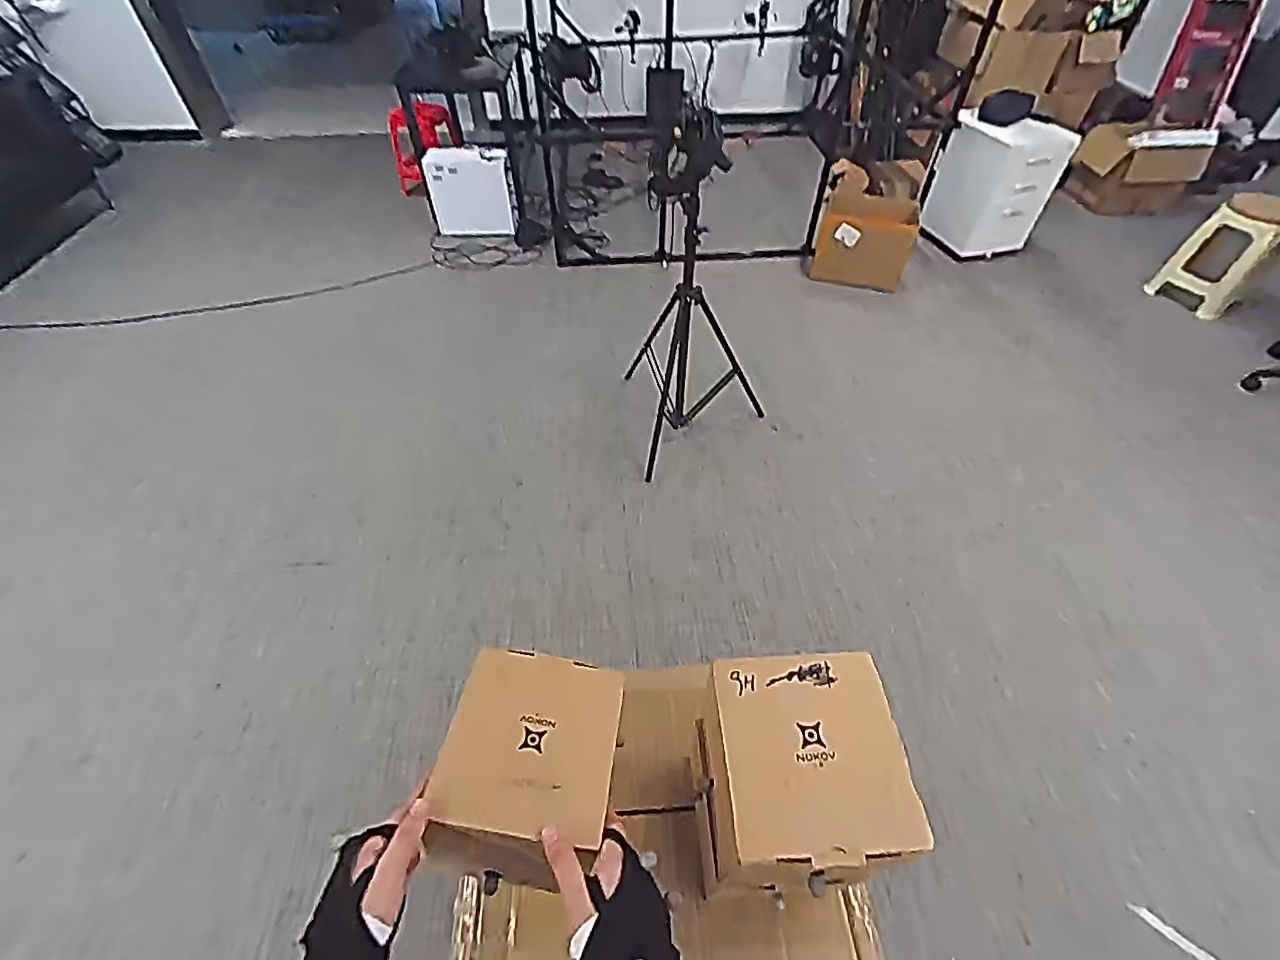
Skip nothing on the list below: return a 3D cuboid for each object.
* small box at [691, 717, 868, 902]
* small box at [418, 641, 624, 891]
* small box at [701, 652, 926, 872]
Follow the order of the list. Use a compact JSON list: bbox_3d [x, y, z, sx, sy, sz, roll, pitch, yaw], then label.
[{"bbox_3d":[0.157,0.411,0.683,0.168,0.176,0.179,-4,49,-1],"label":"small box"},{"bbox_3d":[-0.119,0.305,0.581,0.168,0.176,0.179,11,41,-2],"label":"small box"},{"bbox_3d":[0.158,0.297,0.564,0.168,0.176,0.179,-2,50,-1],"label":"small box"}]
